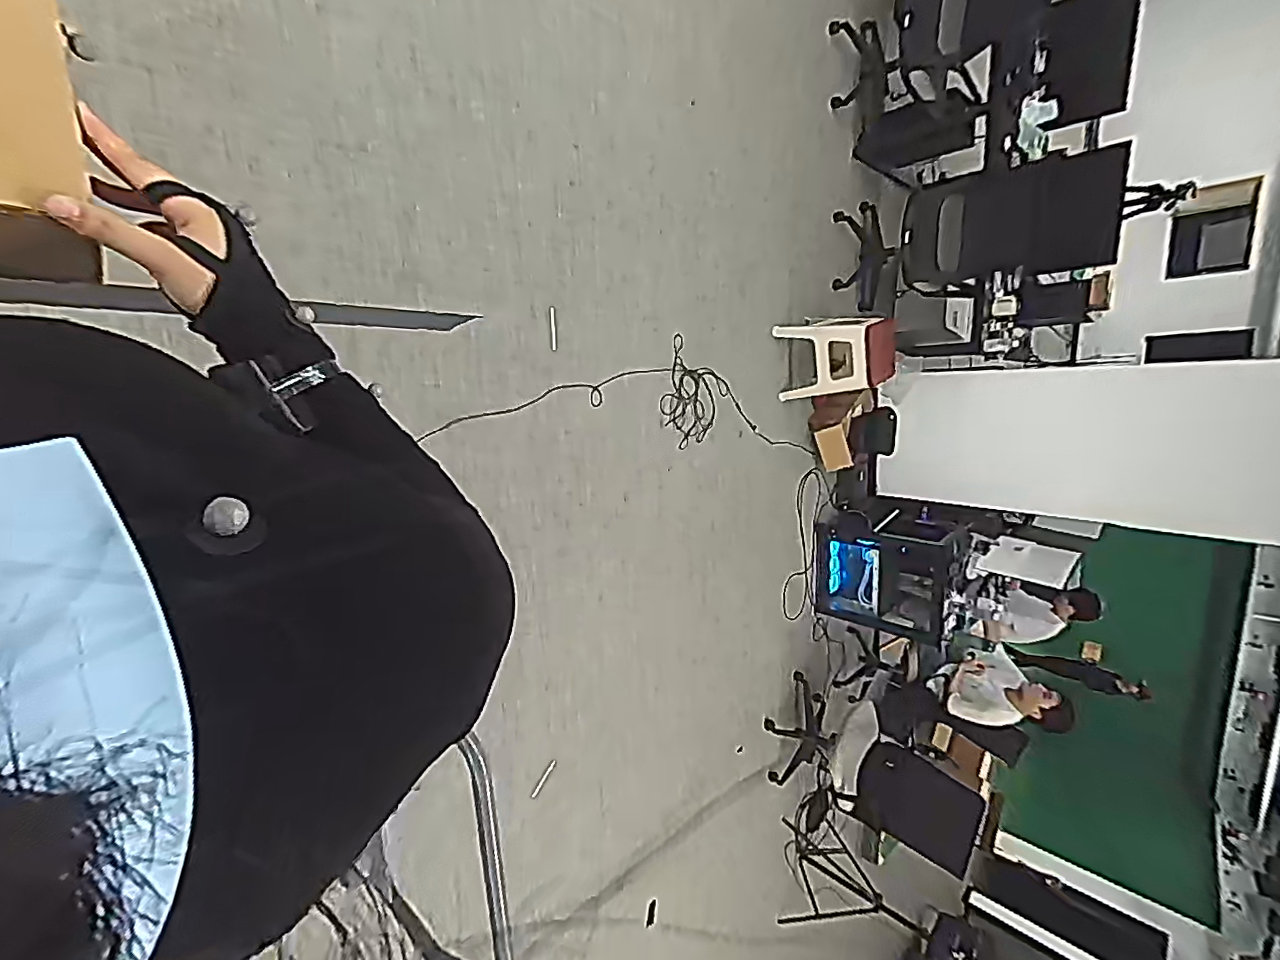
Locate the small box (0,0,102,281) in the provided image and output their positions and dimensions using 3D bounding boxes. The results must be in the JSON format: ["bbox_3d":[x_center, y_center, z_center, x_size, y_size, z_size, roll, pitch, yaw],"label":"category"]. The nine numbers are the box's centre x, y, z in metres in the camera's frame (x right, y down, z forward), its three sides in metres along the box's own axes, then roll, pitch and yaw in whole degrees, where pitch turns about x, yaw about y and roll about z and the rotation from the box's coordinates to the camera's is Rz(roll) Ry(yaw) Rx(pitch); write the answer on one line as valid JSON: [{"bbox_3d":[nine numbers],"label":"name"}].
[{"bbox_3d":[-0.459,-0.241,0.332,0.168,0.176,0.179,-10,97,-43],"label":"small box"}]

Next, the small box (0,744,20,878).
[{"bbox_3d":[-1.058,0.509,0.793,0.168,0.176,0.179,-14,105,-44],"label":"small box"}]
